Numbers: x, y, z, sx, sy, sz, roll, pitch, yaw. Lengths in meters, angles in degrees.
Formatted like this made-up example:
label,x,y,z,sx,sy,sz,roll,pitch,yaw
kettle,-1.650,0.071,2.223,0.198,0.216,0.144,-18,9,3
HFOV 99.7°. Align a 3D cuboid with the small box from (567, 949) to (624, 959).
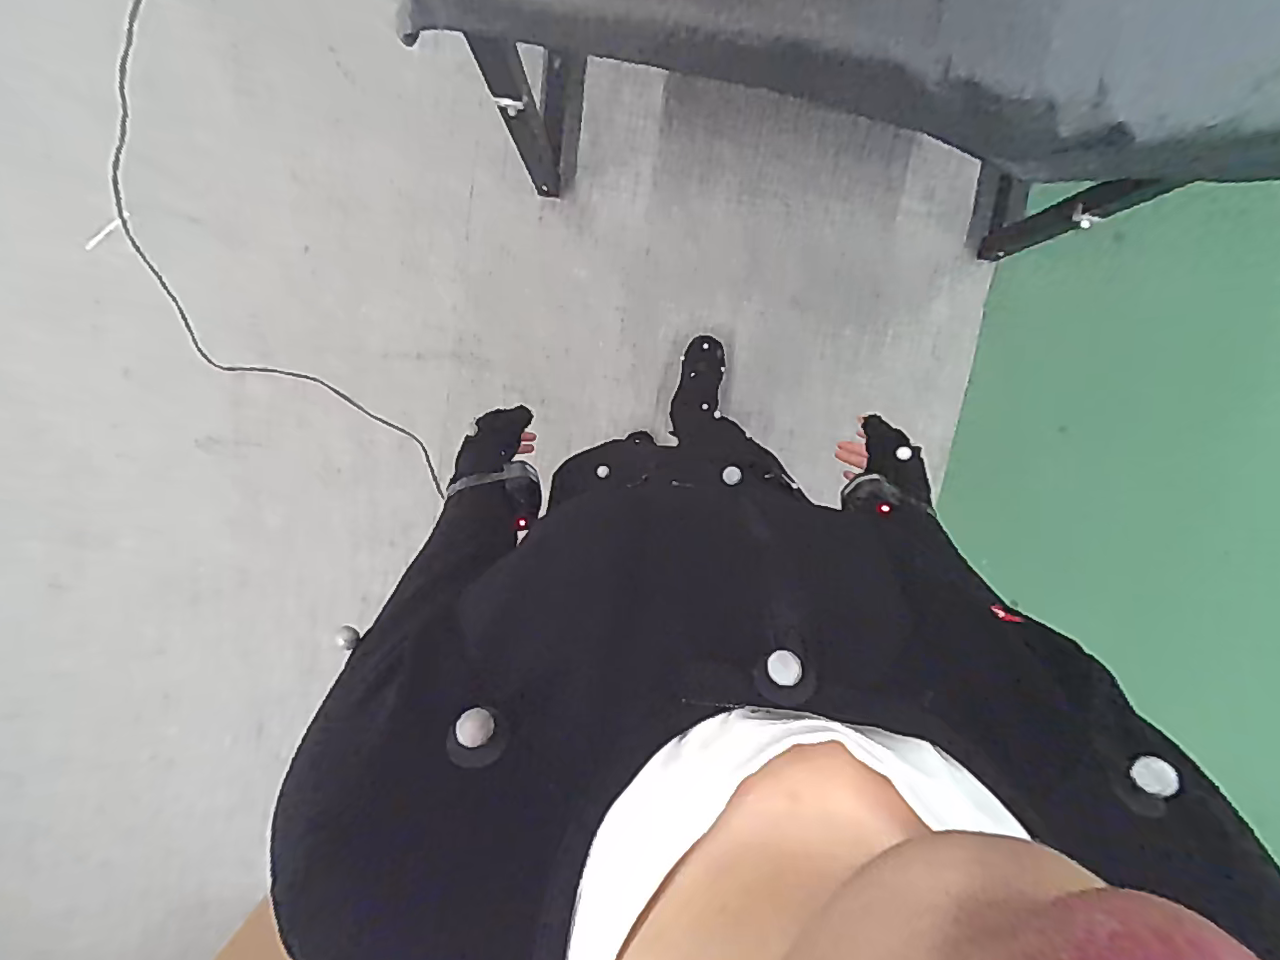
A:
label,x,y,z,sx,sy,sz,roll,pitch,yaw
small box,-0.137,1.503,1.557,0.179,0.176,0.168,4,98,0
